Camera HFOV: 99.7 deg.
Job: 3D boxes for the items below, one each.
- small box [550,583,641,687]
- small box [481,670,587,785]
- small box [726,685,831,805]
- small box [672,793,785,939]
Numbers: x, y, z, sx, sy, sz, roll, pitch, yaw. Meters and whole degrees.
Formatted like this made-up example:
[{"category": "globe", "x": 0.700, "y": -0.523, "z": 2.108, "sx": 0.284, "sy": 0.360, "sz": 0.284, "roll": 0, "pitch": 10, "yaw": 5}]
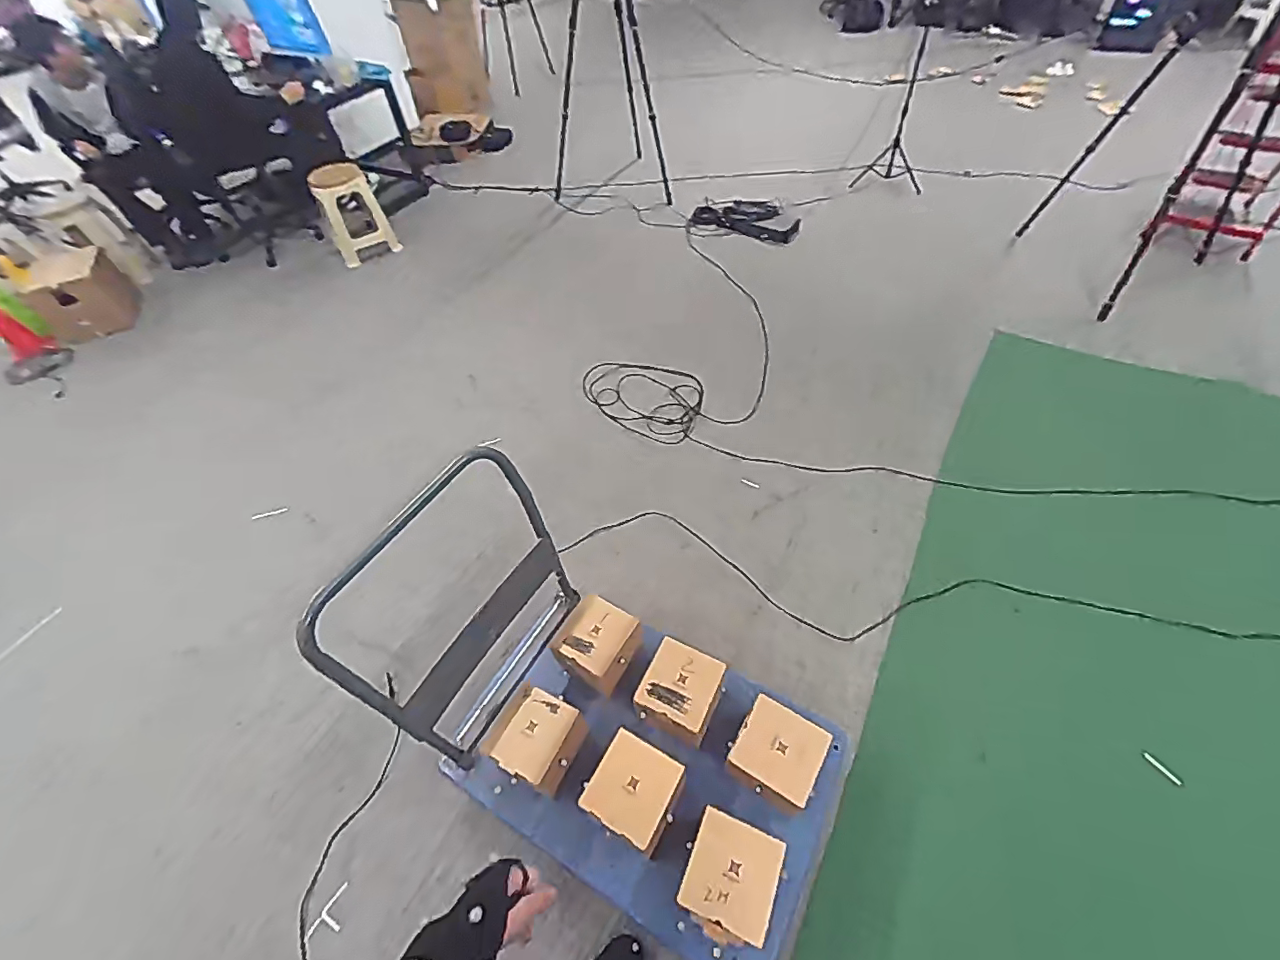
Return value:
[{"category": "small box", "x": -0.106, "y": 0.411, "z": 1.422, "sx": 0.168, "sy": 0.176, "sz": 0.179, "roll": 25, "pitch": 57, "yaw": 22}, {"category": "small box", "x": -0.241, "y": 0.593, "z": 1.288, "sx": 0.168, "sy": 0.176, "sz": 0.179, "roll": 21, "pitch": 56, "yaw": 20}, {"category": "small box", "x": 0.307, "y": 0.608, "z": 1.230, "sx": 0.179, "sy": 0.176, "sz": 0.168, "roll": 26, "pitch": 59, "yaw": 24}, {"category": "small box", "x": 0.178, "y": 0.780, "z": 1.098, "sx": 0.168, "sy": 0.176, "sz": 0.179, "roll": 21, "pitch": 57, "yaw": 24}]
